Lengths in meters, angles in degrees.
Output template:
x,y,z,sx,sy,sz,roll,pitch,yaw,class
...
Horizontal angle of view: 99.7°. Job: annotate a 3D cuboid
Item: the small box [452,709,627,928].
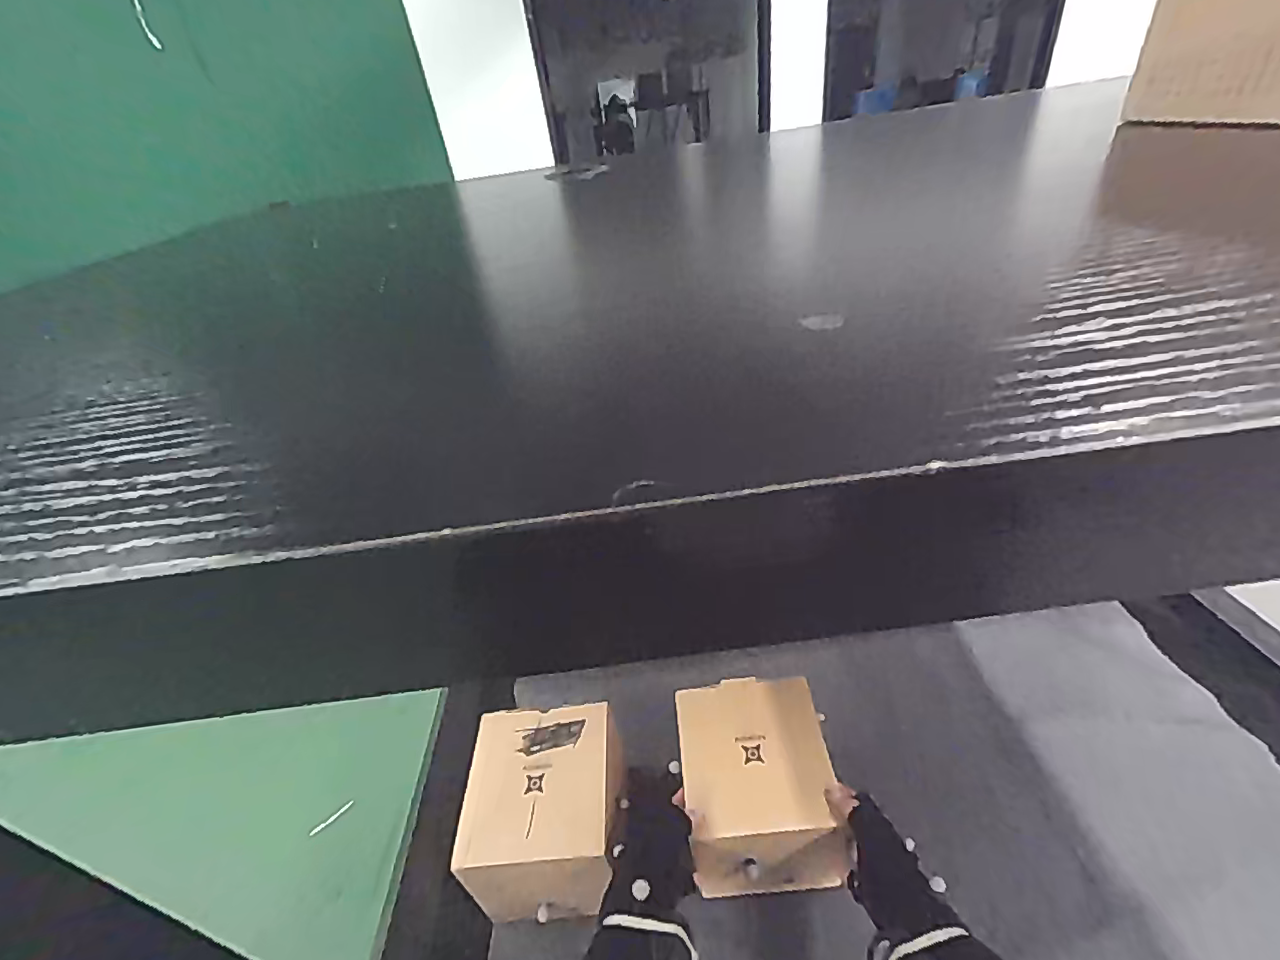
x,y,z,sx,sy,sz,roll,pitch,yaw,class
-0.109,0.416,0.671,0.168,0.176,0.179,-7,35,3,small box
